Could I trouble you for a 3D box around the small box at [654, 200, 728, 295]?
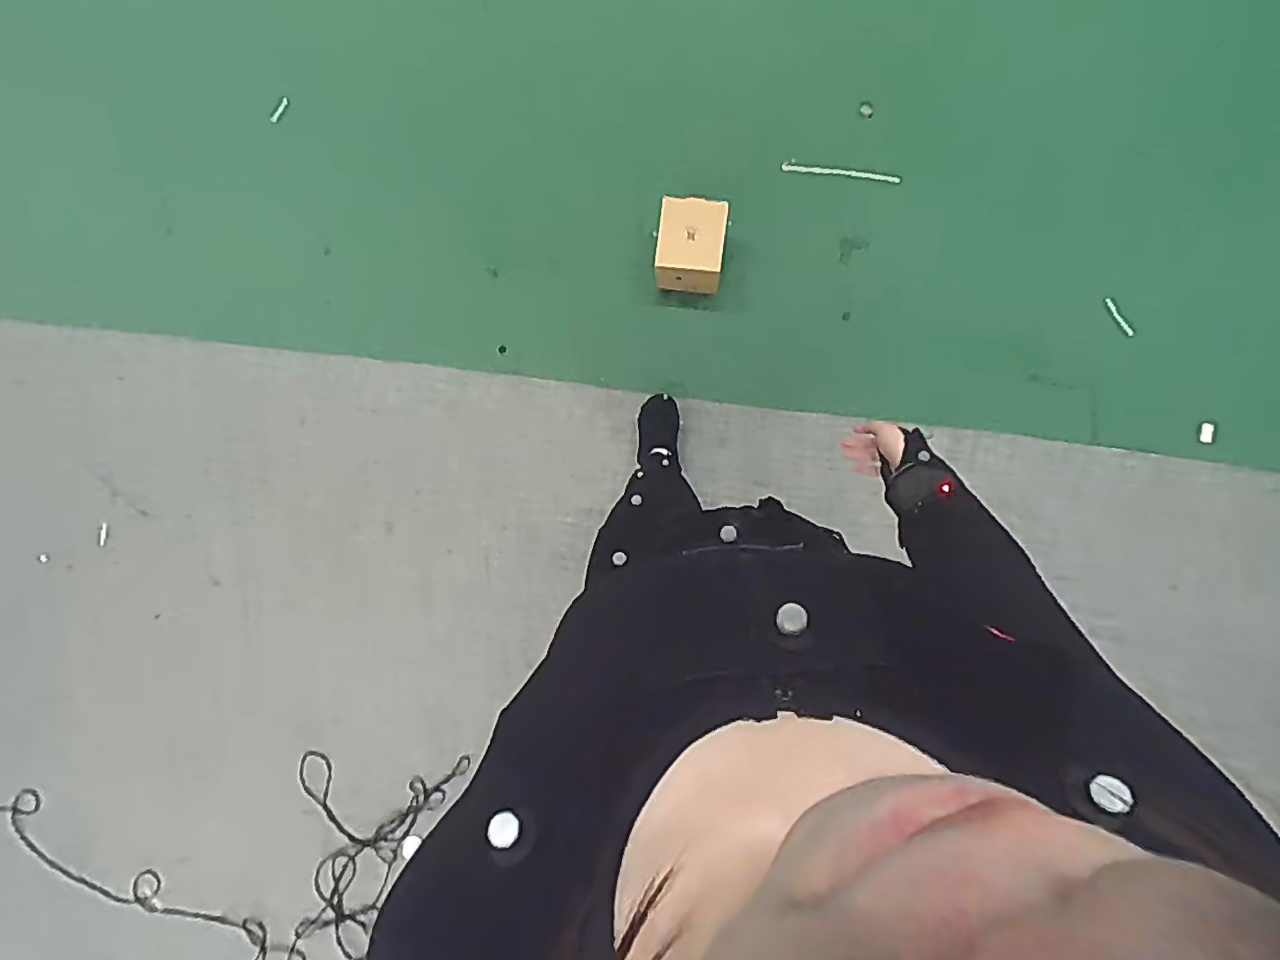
[{"bbox_3d":[0.132,-0.597,1.409,0.168,0.176,0.179,7,90,5],"label":"small box"}]
